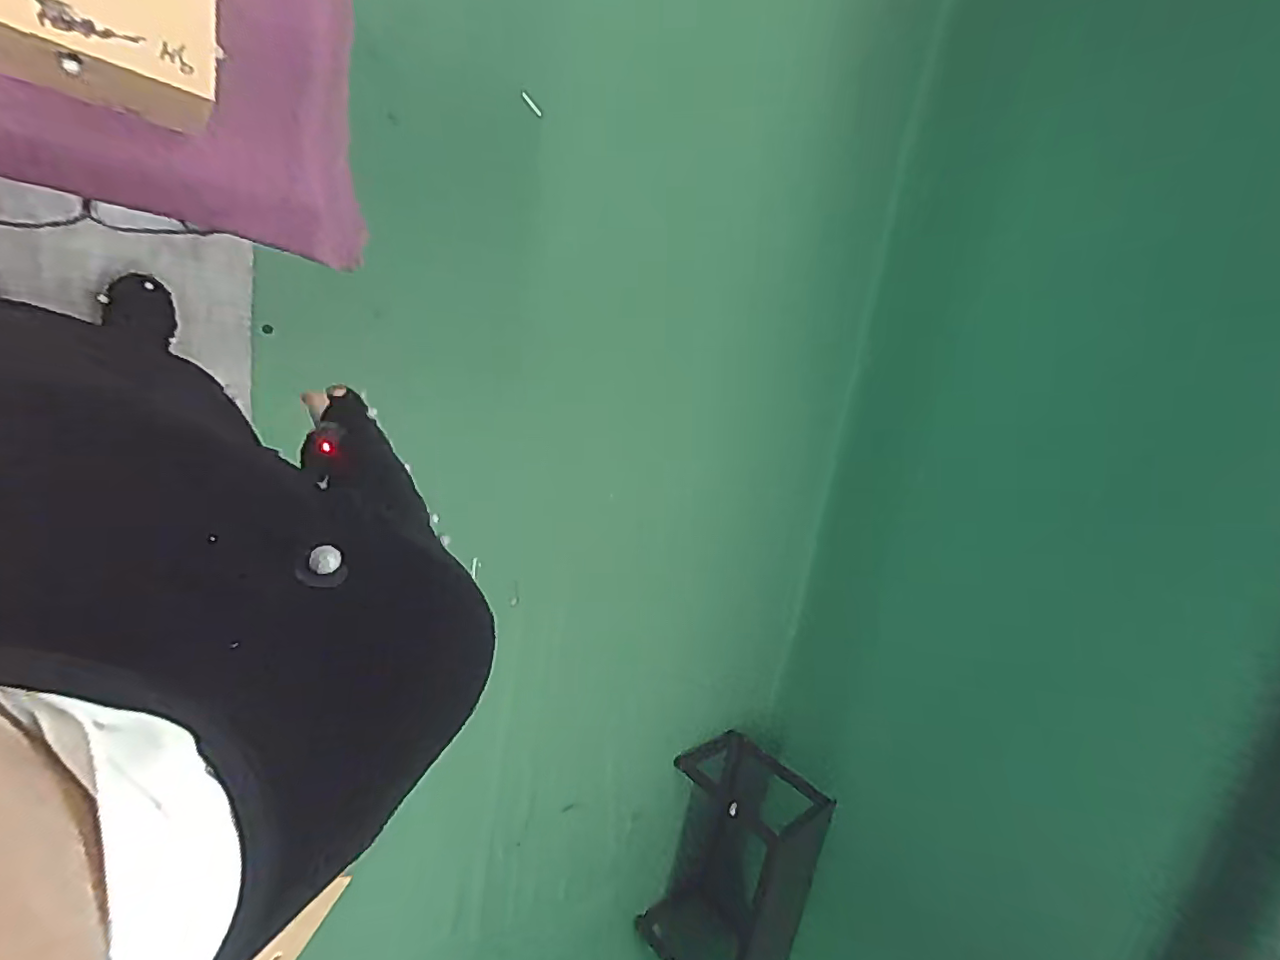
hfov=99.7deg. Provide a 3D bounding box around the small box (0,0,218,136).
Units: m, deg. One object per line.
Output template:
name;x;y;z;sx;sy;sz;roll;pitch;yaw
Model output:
small box;-0.522;-0.473;0.522;0.168;0.176;0.179;-1;104;-43
